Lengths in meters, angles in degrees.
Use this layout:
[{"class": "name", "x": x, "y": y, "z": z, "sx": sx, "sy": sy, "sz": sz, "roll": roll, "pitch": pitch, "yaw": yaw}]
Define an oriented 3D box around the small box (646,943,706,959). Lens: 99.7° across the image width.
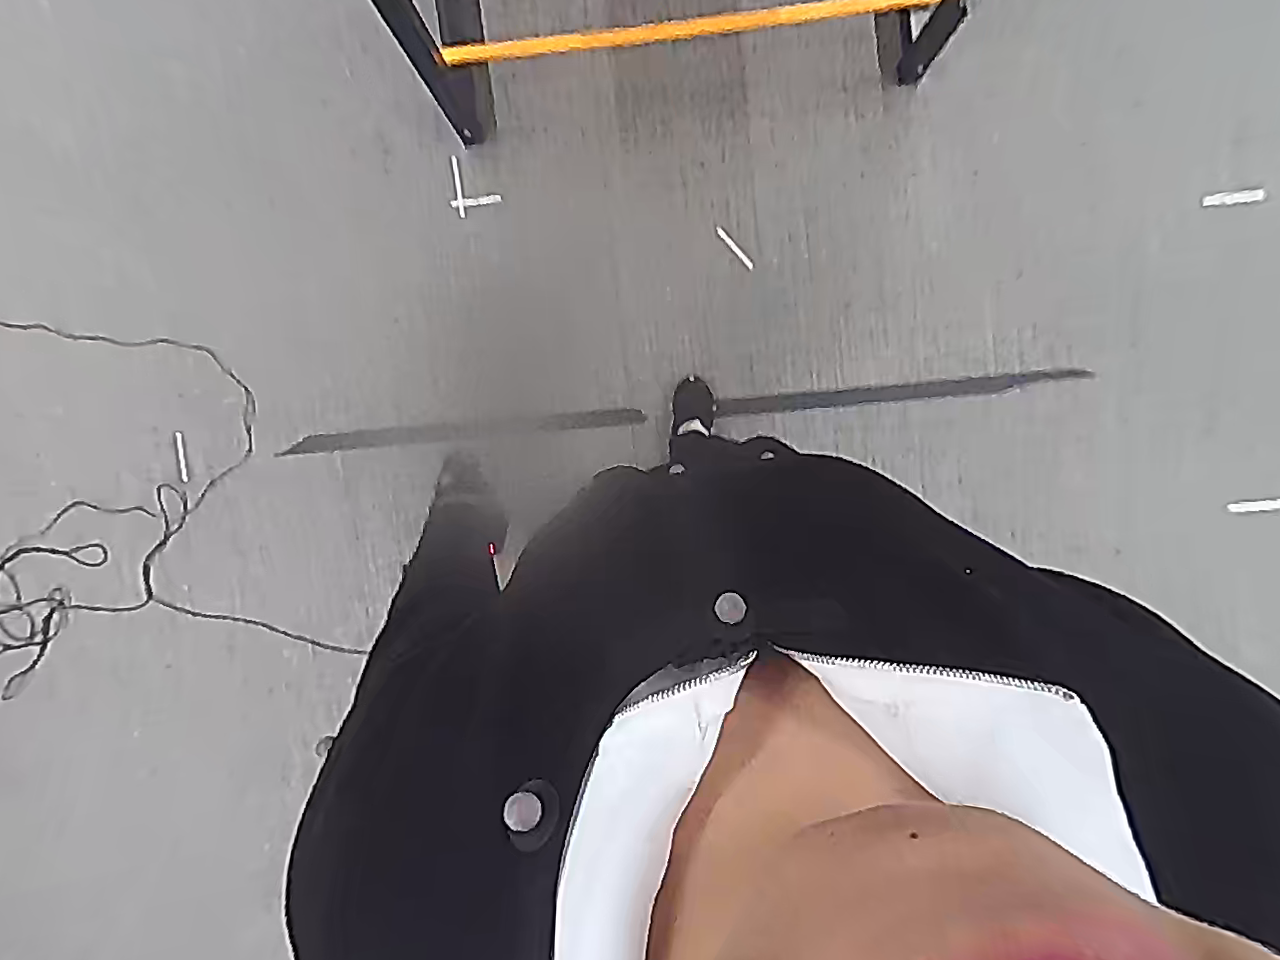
[{"class": "small box", "x": 0.098, "y": 1.365, "z": 1.410, "sx": 0.168, "sy": 0.176, "sz": 0.179, "roll": -2, "pitch": 95, "yaw": 1}]
